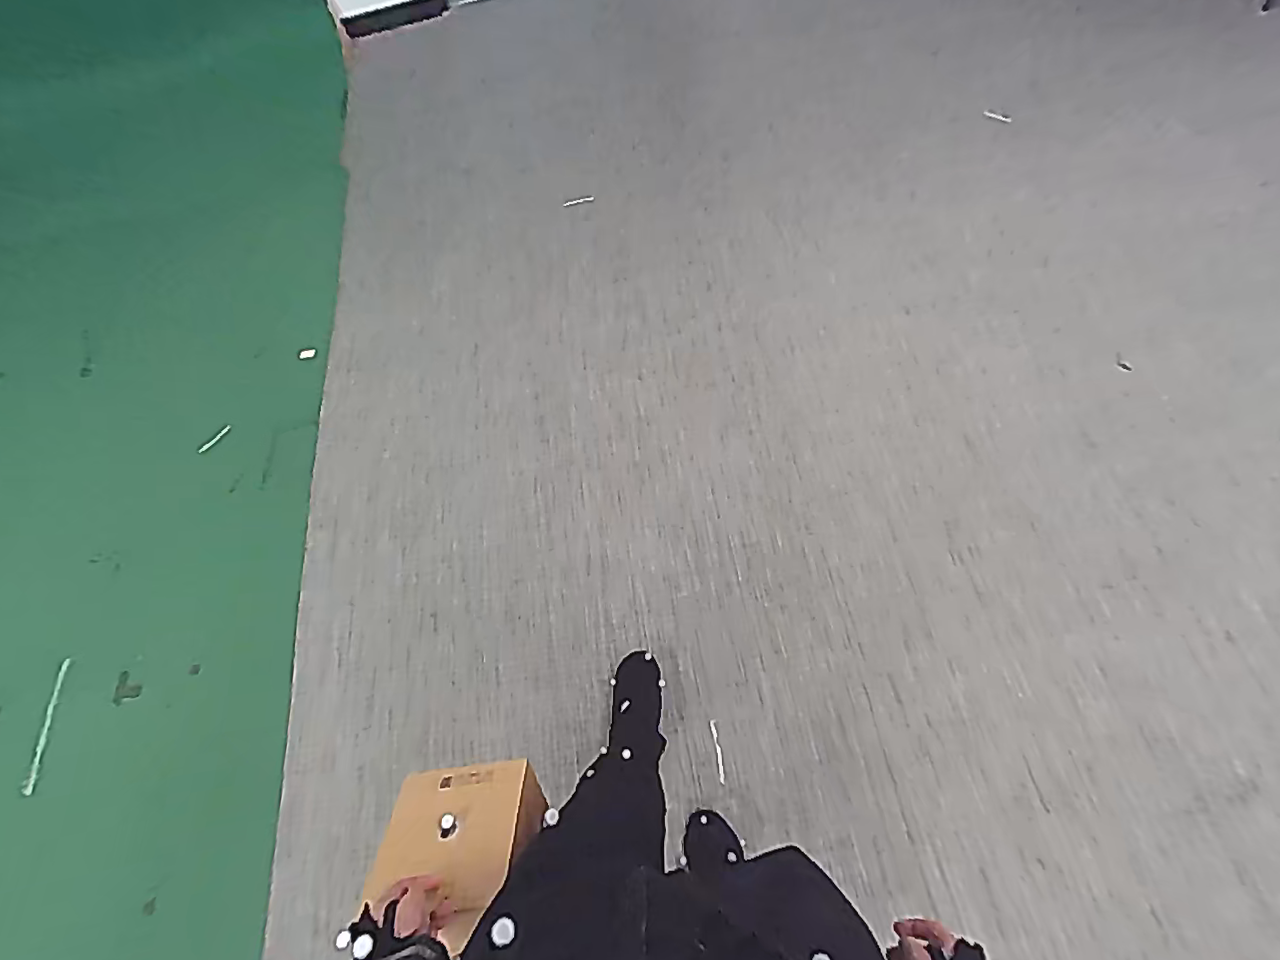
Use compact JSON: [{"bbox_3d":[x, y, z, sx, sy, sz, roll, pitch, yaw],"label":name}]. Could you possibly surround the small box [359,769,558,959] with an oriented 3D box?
[{"bbox_3d":[-0.205,0.485,0.669,0.168,0.179,0.176,-12,27,3],"label":"small box"}]
